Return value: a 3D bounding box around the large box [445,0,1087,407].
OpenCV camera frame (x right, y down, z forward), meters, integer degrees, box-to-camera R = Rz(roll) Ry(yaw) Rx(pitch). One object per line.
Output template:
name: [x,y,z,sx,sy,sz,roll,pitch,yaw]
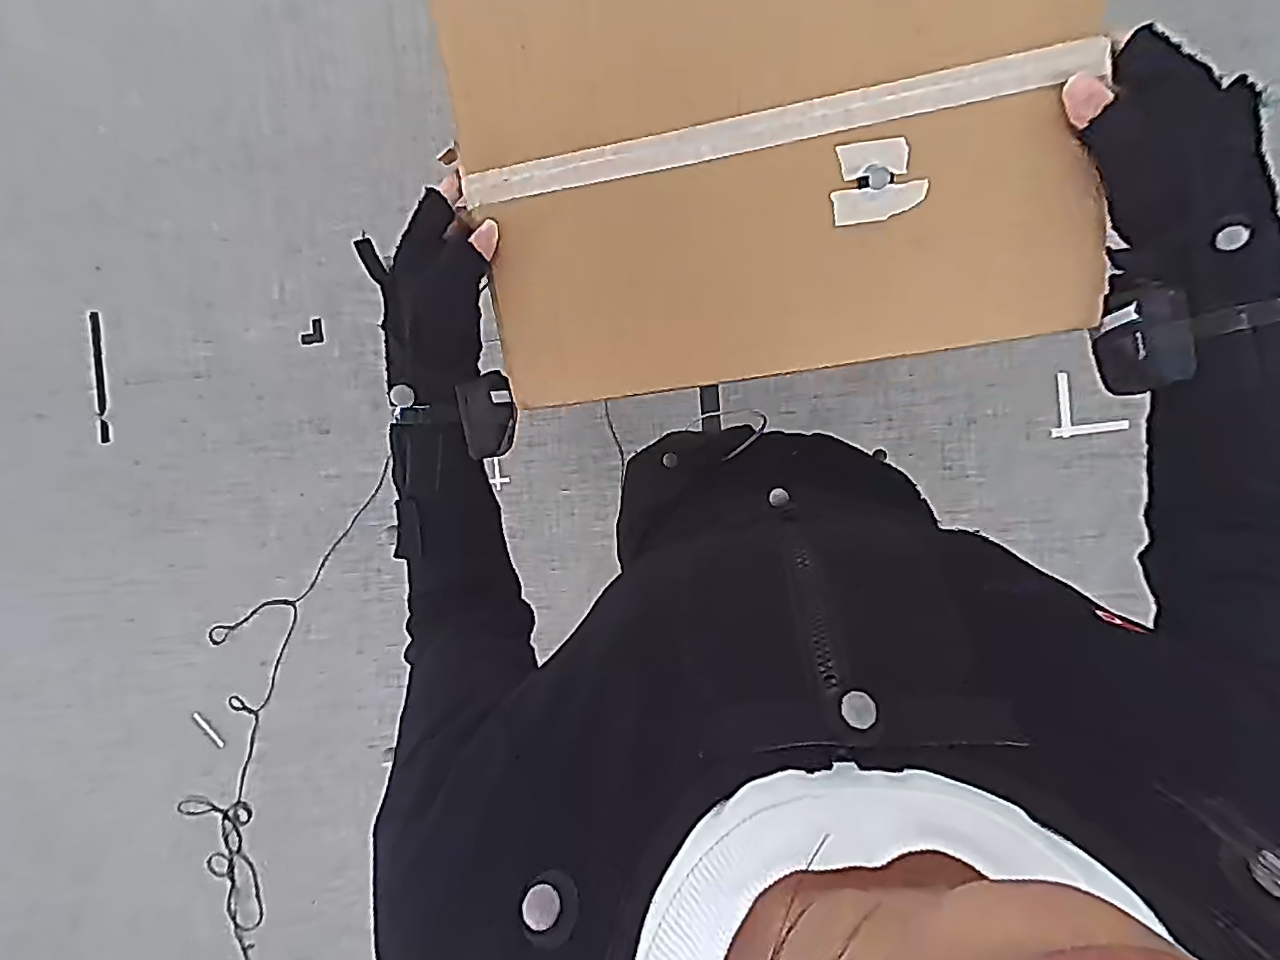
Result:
large box: [0.096,-0.264,0.509,0.408,0.320,0.320,-8,103,8]
